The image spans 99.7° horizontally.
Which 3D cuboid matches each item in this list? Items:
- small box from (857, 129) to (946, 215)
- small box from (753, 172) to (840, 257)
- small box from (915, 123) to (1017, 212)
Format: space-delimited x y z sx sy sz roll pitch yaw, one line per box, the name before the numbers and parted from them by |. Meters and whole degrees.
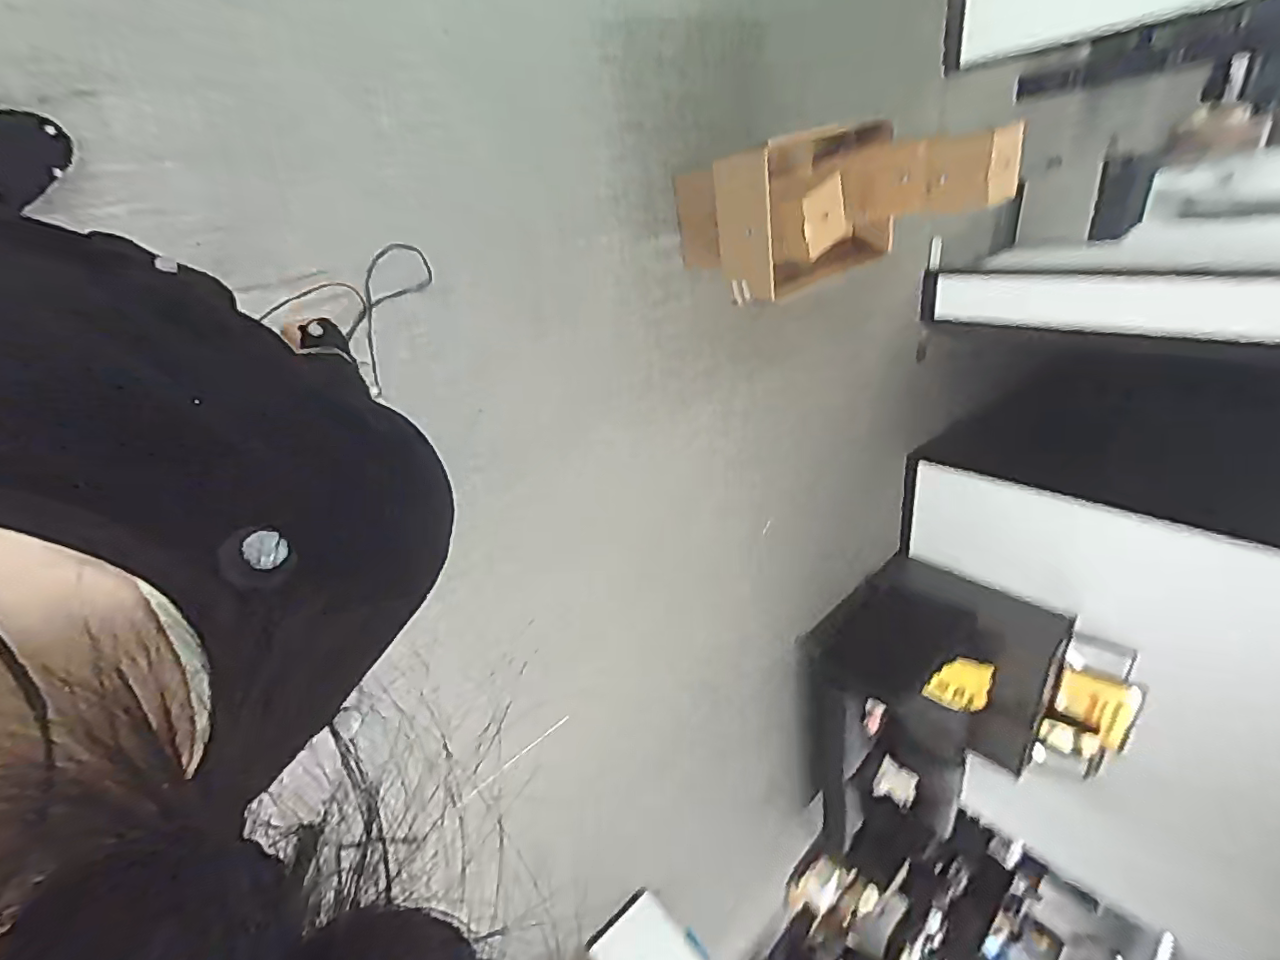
small box | 0.734 -0.862 1.527 0.168 0.176 0.179 -34 125 -27
small box | 0.440 -0.749 1.539 0.179 0.176 0.168 -42 130 -22
small box | 0.848 -0.815 1.416 0.179 0.176 0.168 -32 124 -28
